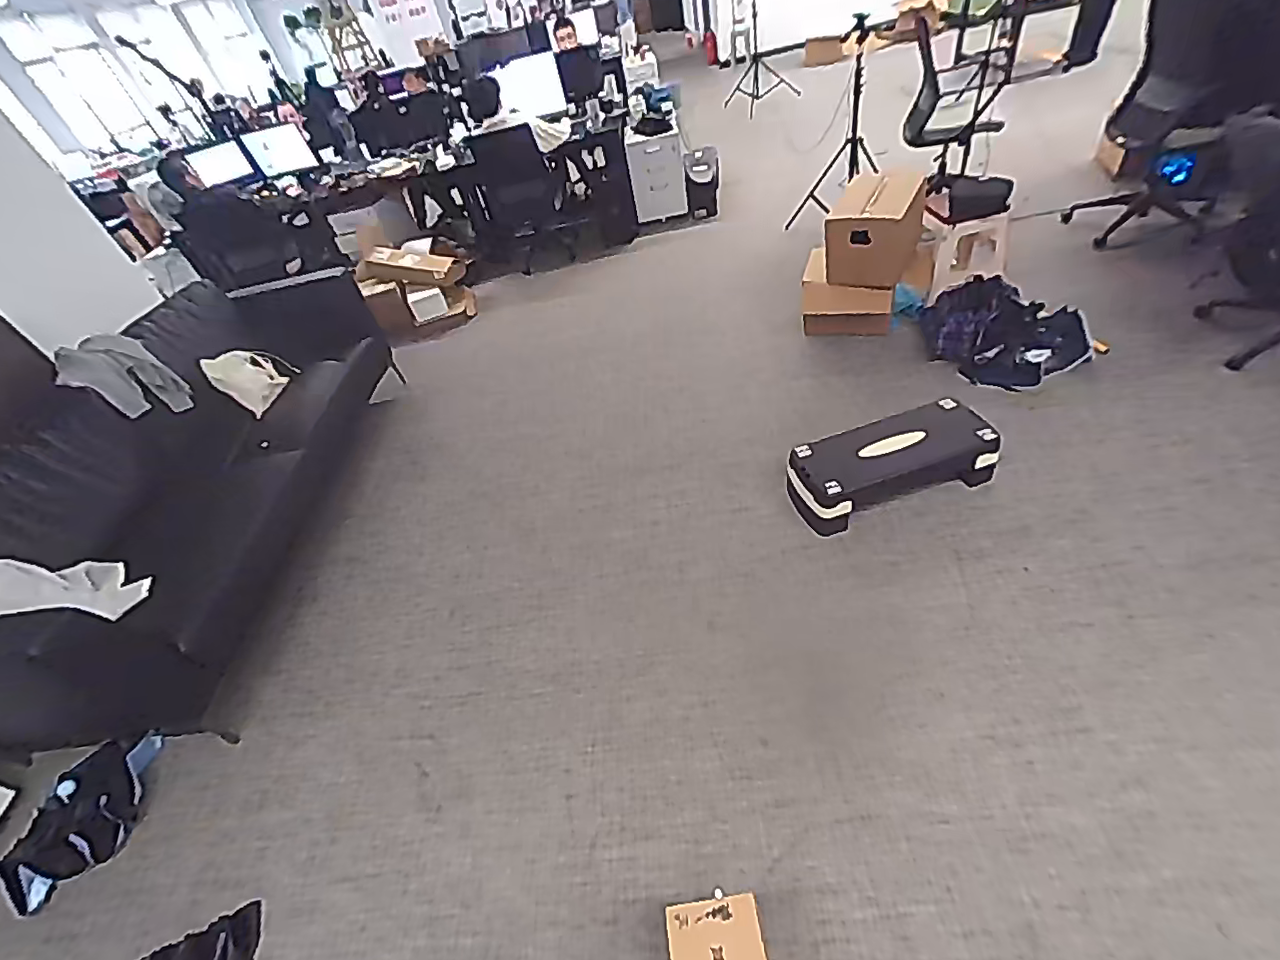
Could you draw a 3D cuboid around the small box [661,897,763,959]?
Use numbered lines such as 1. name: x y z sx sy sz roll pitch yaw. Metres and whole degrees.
1. small box: 0.141 0.888 0.982 0.168 0.176 0.179 -12 44 4
